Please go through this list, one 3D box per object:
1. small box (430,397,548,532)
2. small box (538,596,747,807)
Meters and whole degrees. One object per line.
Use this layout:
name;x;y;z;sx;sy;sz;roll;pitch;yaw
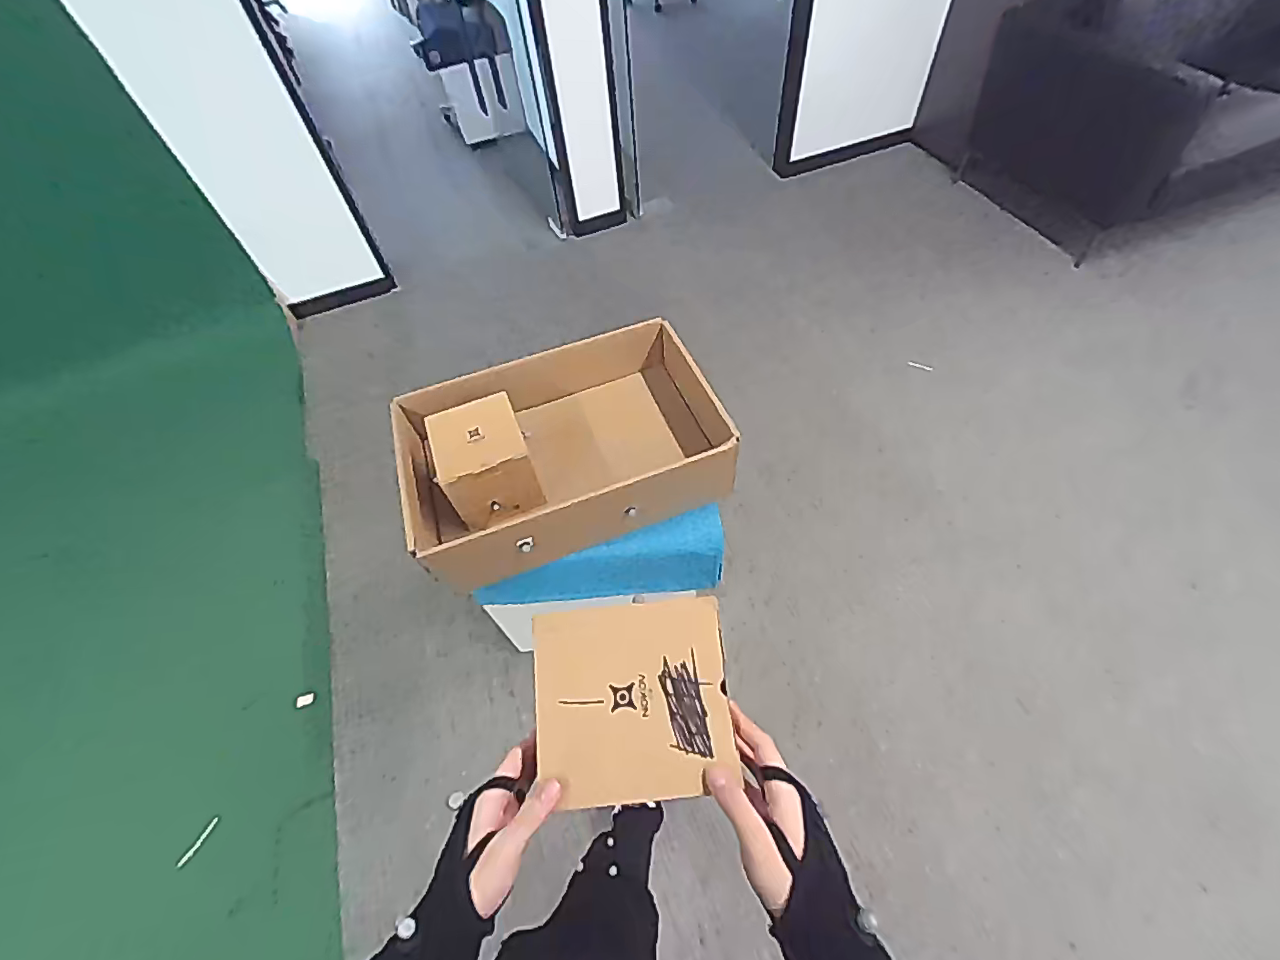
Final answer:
small box;-0.295;-0.029;1.072;0.168;0.176;0.179;-20;55;-10
small box;0.000;0.219;0.556;0.179;0.176;0.168;-6;68;1
